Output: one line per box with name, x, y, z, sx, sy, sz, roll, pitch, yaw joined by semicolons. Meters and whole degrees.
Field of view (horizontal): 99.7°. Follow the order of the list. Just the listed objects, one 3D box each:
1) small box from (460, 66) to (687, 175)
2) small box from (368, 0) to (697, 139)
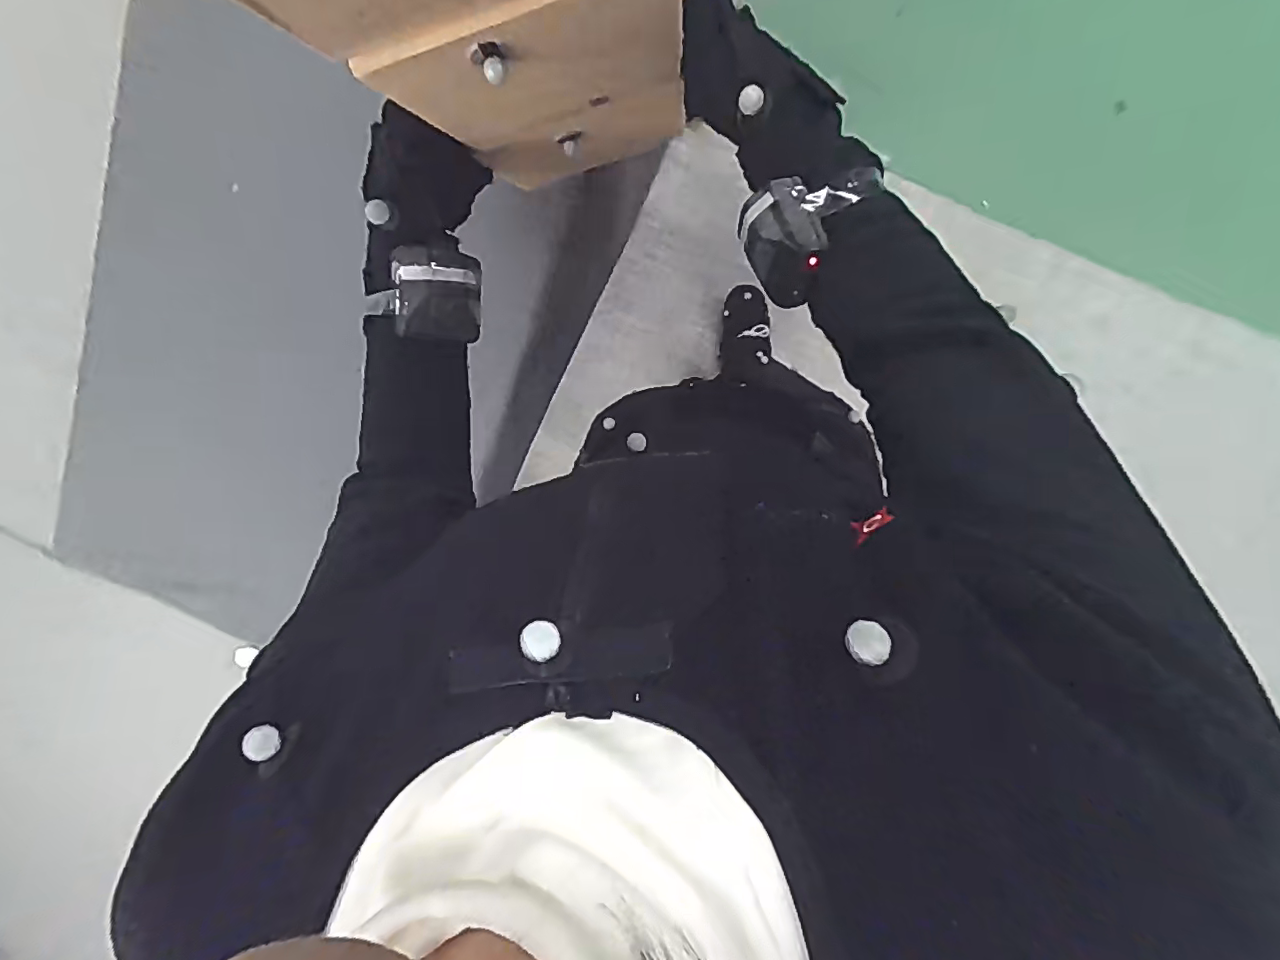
small box;-0.060;-0.380;0.455;0.179;0.176;0.168;-13;108;9
small box;-0.068;-0.329;0.303;0.168;0.176;0.179;-14;109;9
